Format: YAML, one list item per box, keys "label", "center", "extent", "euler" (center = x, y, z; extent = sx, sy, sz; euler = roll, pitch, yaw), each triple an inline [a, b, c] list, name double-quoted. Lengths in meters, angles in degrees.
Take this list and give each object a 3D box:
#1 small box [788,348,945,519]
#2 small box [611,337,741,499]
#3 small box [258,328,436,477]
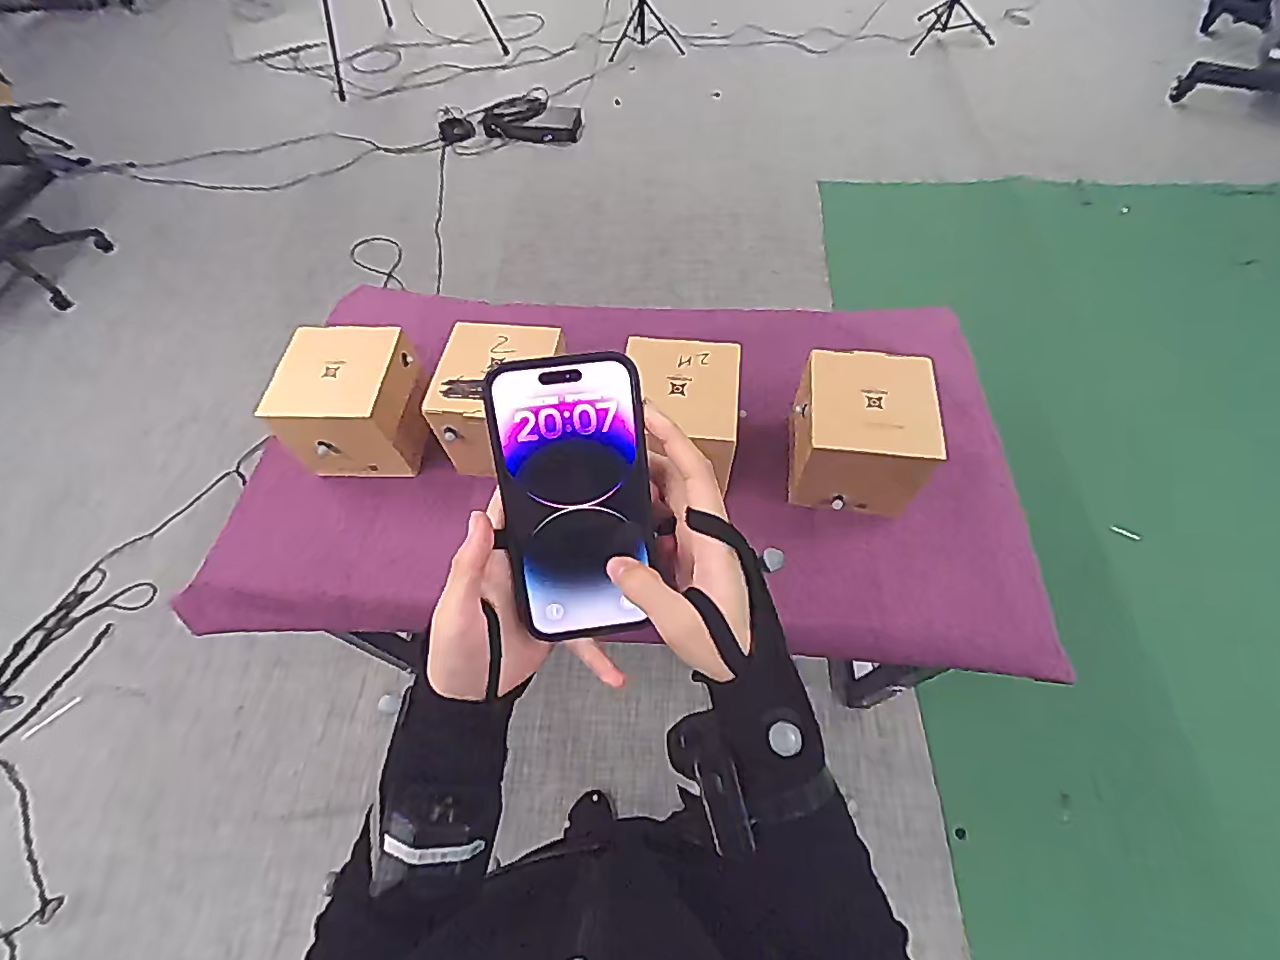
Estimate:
- label: "small box"
  center: [0.315, -0.065, 0.790]
  extent: [0.168, 0.176, 0.179]
  euler: [6, 59, 7]
- label: "small box"
  center: [0.057, -0.088, 0.814]
  extent: [0.168, 0.176, 0.179]
  euler: [6, 59, 5]
- label: "small box"
  center: [-0.442, -0.116, 0.853]
  extent: [0.168, 0.176, 0.179]
  euler: [0, 58, 3]
